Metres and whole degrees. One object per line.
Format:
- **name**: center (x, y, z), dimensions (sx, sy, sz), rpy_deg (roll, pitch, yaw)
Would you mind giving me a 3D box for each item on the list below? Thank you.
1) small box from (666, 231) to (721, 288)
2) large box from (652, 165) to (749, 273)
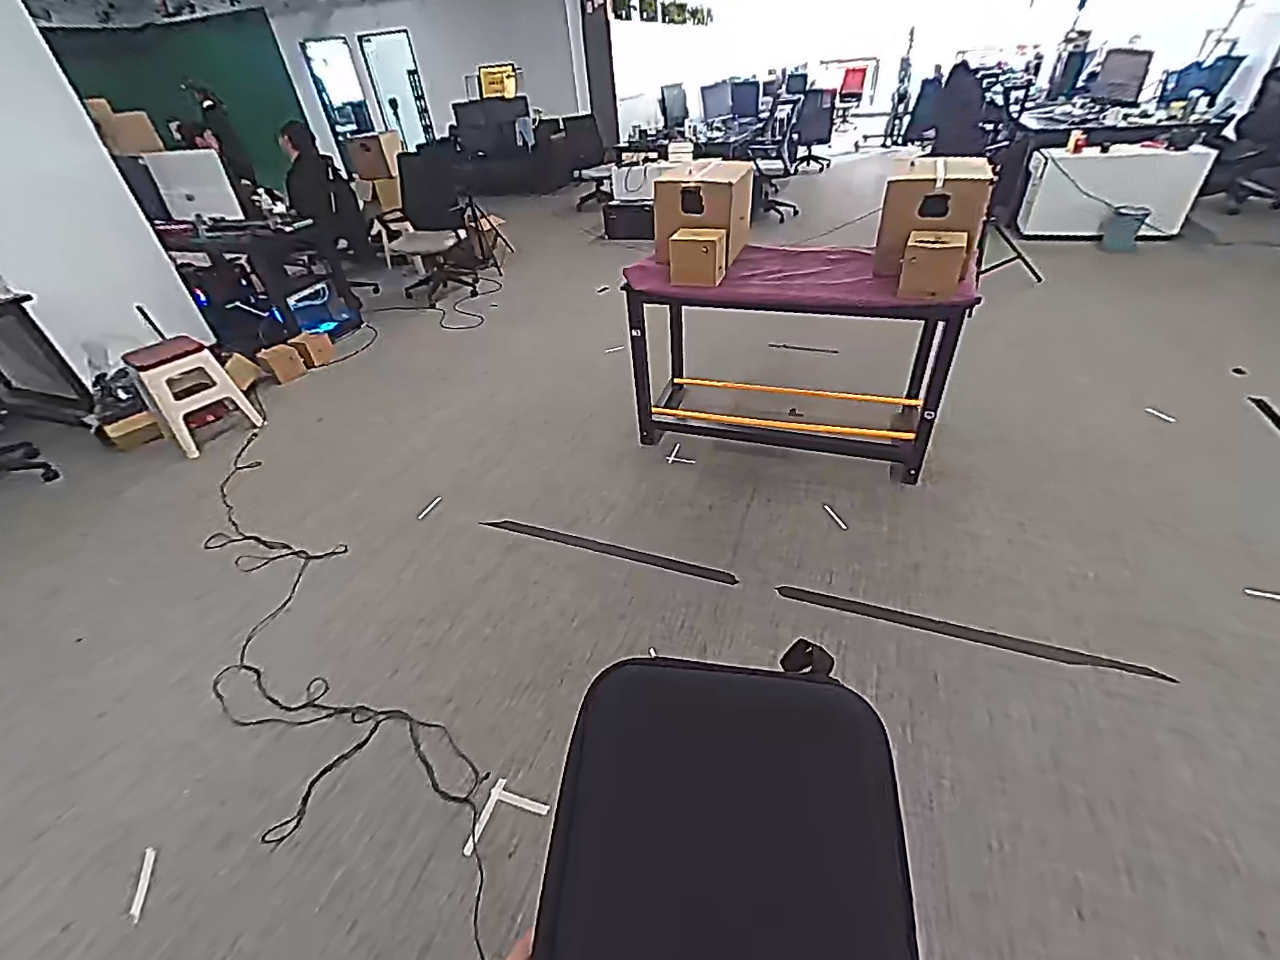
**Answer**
- **small box**: center (0.202, -0.827, 2.026), dimensions (0.179, 0.176, 0.168), rpy_deg (8, 38, 16)
- **large box**: center (0.255, -1.092, 2.246), dimensions (0.320, 0.320, 0.408), rpy_deg (10, 42, 17)
